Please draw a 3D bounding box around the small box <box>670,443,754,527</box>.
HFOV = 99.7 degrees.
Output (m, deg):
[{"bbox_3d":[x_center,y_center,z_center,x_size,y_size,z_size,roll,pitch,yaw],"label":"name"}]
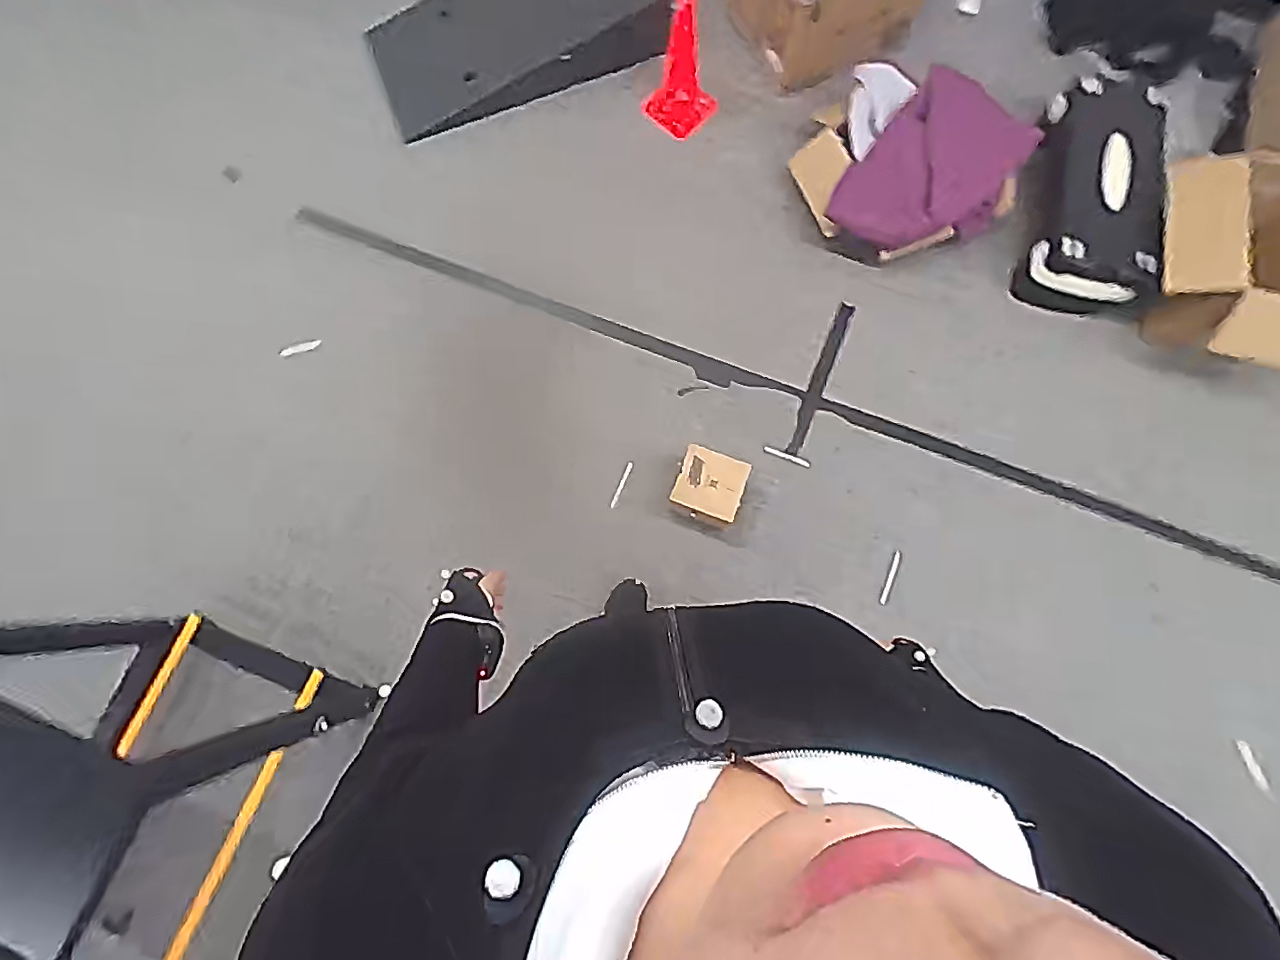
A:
[{"bbox_3d":[0.190,0.022,1.486,0.179,0.176,0.168,21,80,5],"label":"small box"}]
